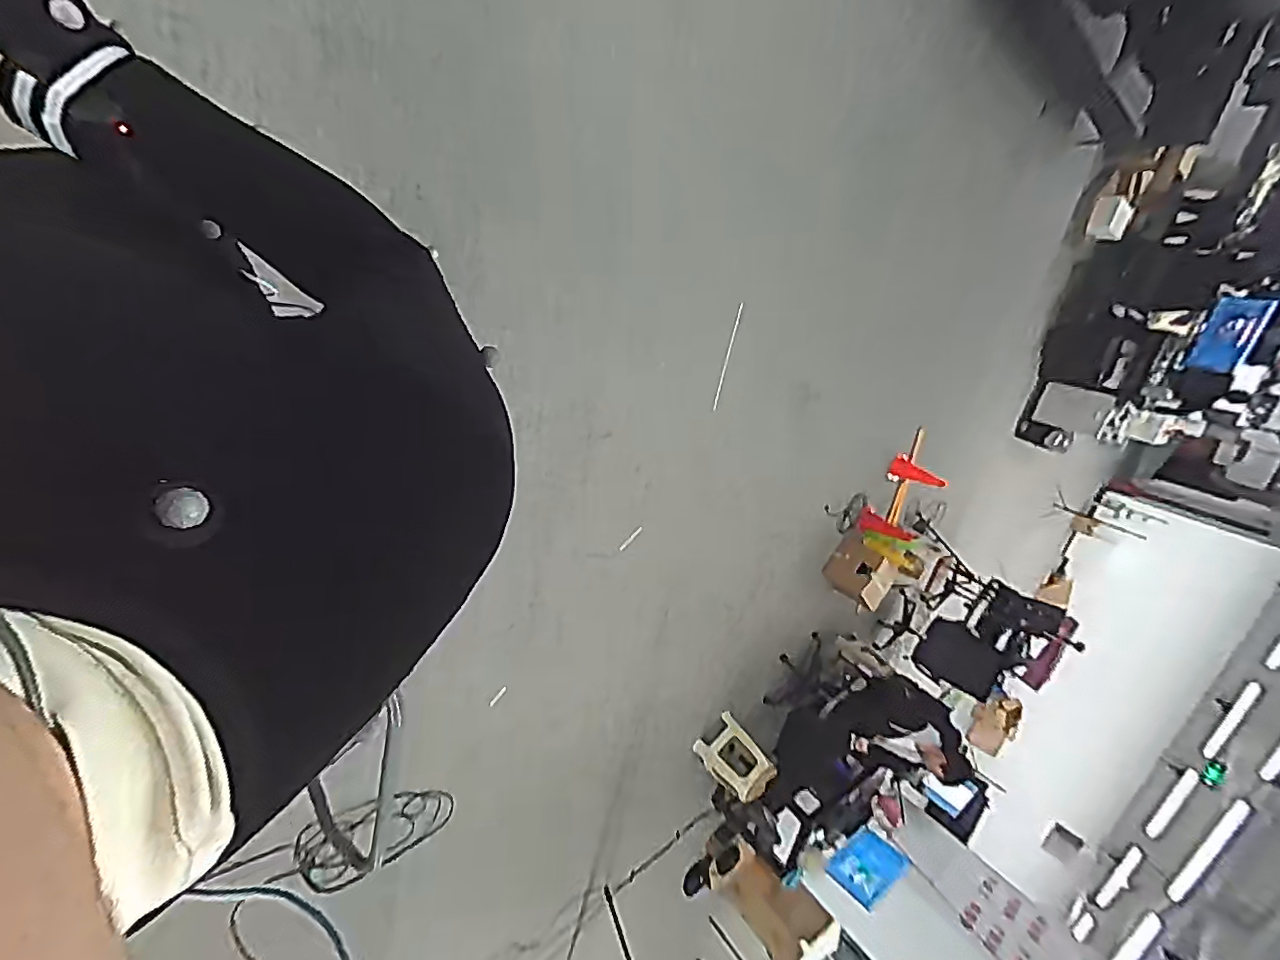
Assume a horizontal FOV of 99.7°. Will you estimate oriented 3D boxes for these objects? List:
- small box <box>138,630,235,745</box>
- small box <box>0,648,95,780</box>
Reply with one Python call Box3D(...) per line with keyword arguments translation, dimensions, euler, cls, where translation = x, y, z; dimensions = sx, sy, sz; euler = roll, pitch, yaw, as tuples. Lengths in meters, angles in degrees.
Box3D(translation=(-1.067, 0.472, 1.270), dimensions=(0.168, 0.176, 0.179), euler=(0, 111, -42), cls="small box")
Box3D(translation=(-1.244, 0.477, 1.113), dimensions=(0.168, 0.176, 0.179), euler=(2, 110, -43), cls="small box")
